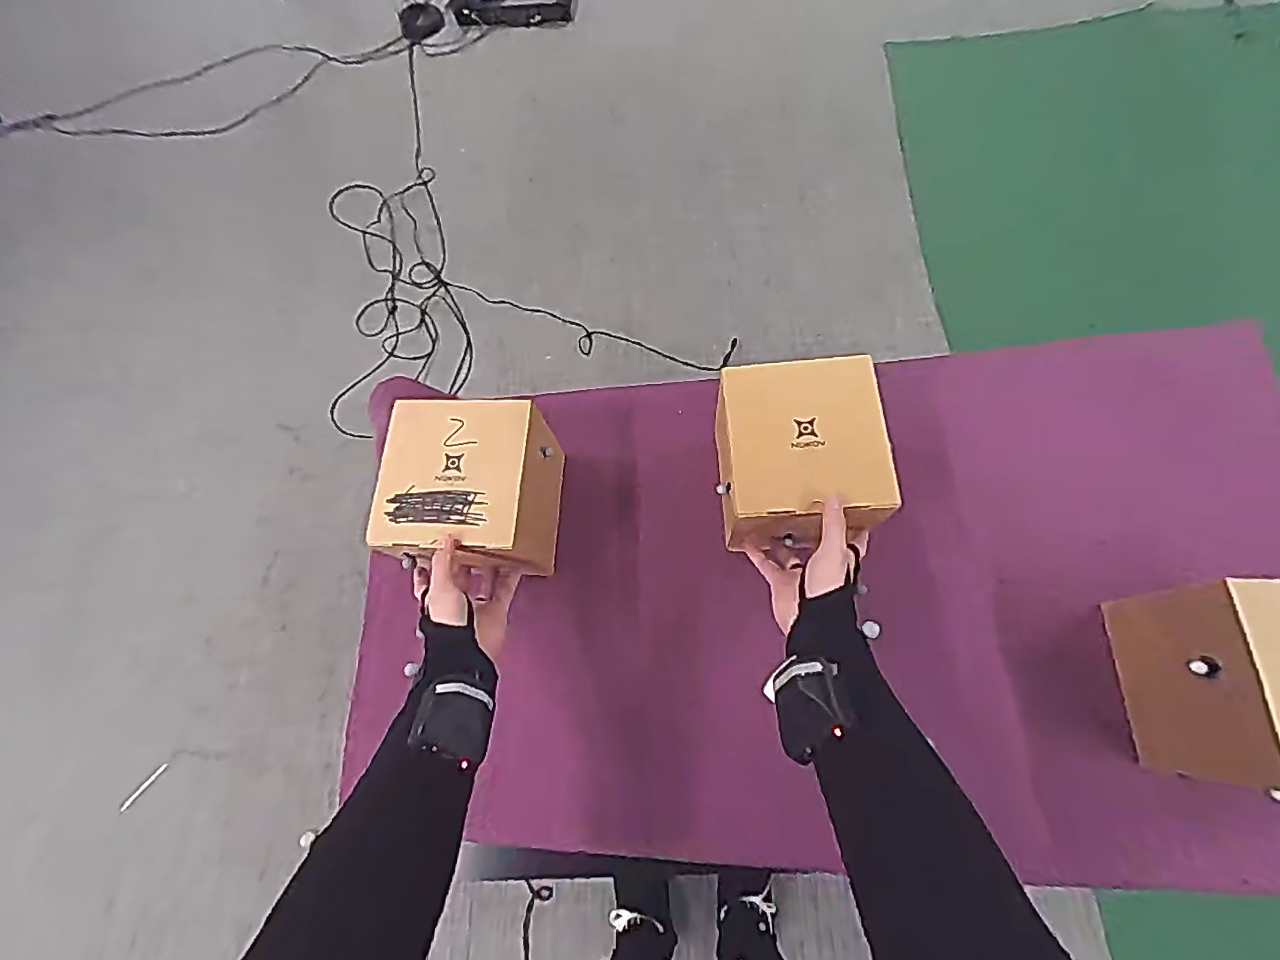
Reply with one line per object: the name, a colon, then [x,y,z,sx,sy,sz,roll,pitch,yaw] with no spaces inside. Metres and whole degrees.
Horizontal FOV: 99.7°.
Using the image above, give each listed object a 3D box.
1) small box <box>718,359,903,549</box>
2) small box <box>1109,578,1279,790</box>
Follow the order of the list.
small box: [0.186,-0.022,0.647,0.168,0.176,0.179,-4,72,4]
small box: [0.609,0.199,0.524,0.168,0.176,0.179,1,70,7]
